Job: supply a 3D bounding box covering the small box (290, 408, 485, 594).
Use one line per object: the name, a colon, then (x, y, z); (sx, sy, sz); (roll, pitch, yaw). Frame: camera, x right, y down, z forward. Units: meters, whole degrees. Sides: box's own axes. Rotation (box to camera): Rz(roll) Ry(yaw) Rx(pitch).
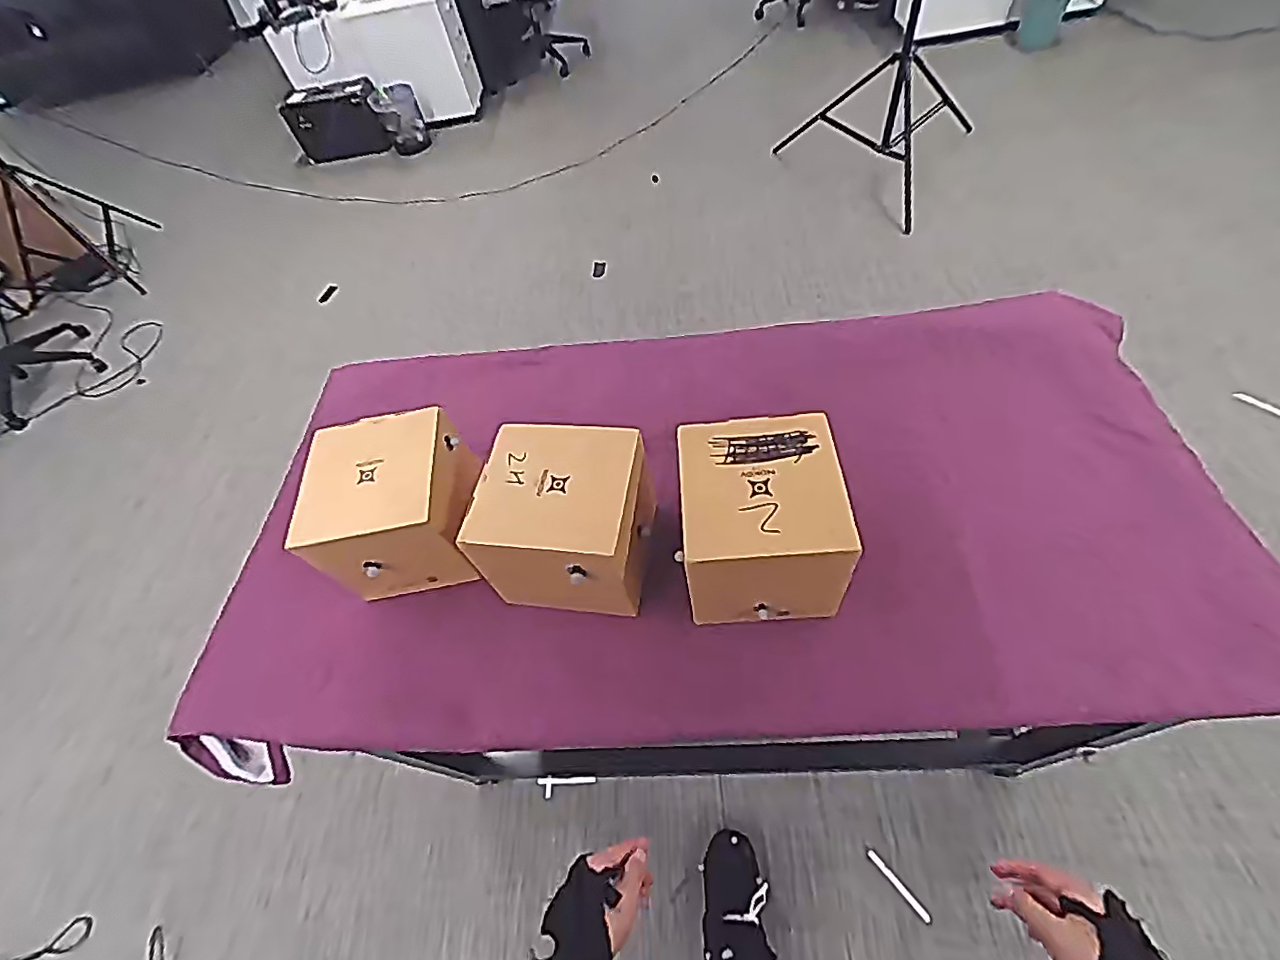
small box: (-0.312, 0.037, 0.712); (0.168, 0.176, 0.179); (-12, 55, 2)
